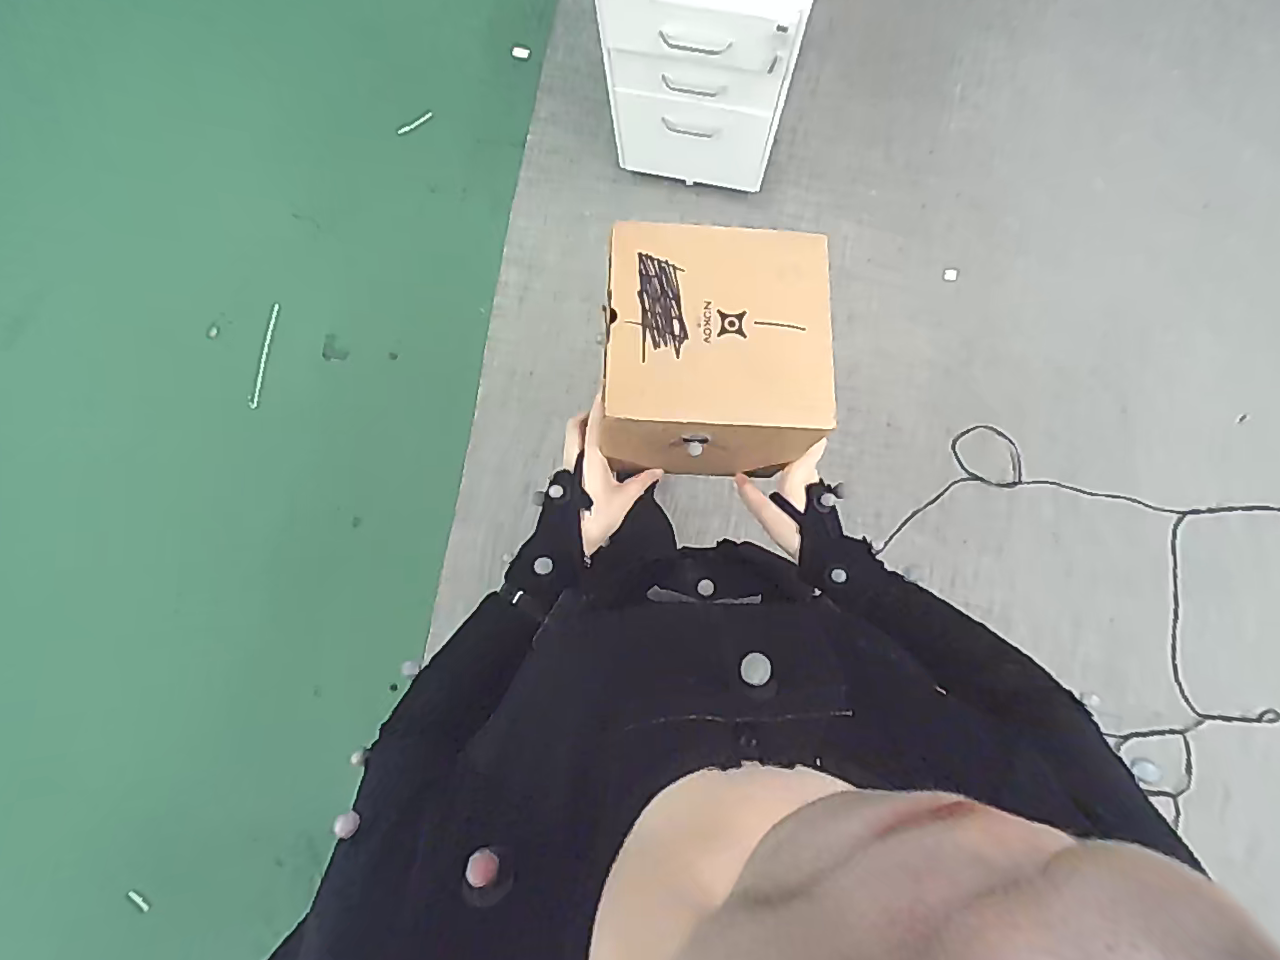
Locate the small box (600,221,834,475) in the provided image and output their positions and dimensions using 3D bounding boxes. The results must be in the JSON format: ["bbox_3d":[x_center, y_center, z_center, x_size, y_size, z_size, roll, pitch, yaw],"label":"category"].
[{"bbox_3d":[0.056,-0.104,0.492,0.179,0.176,0.168,3,77,-4],"label":"small box"}]
